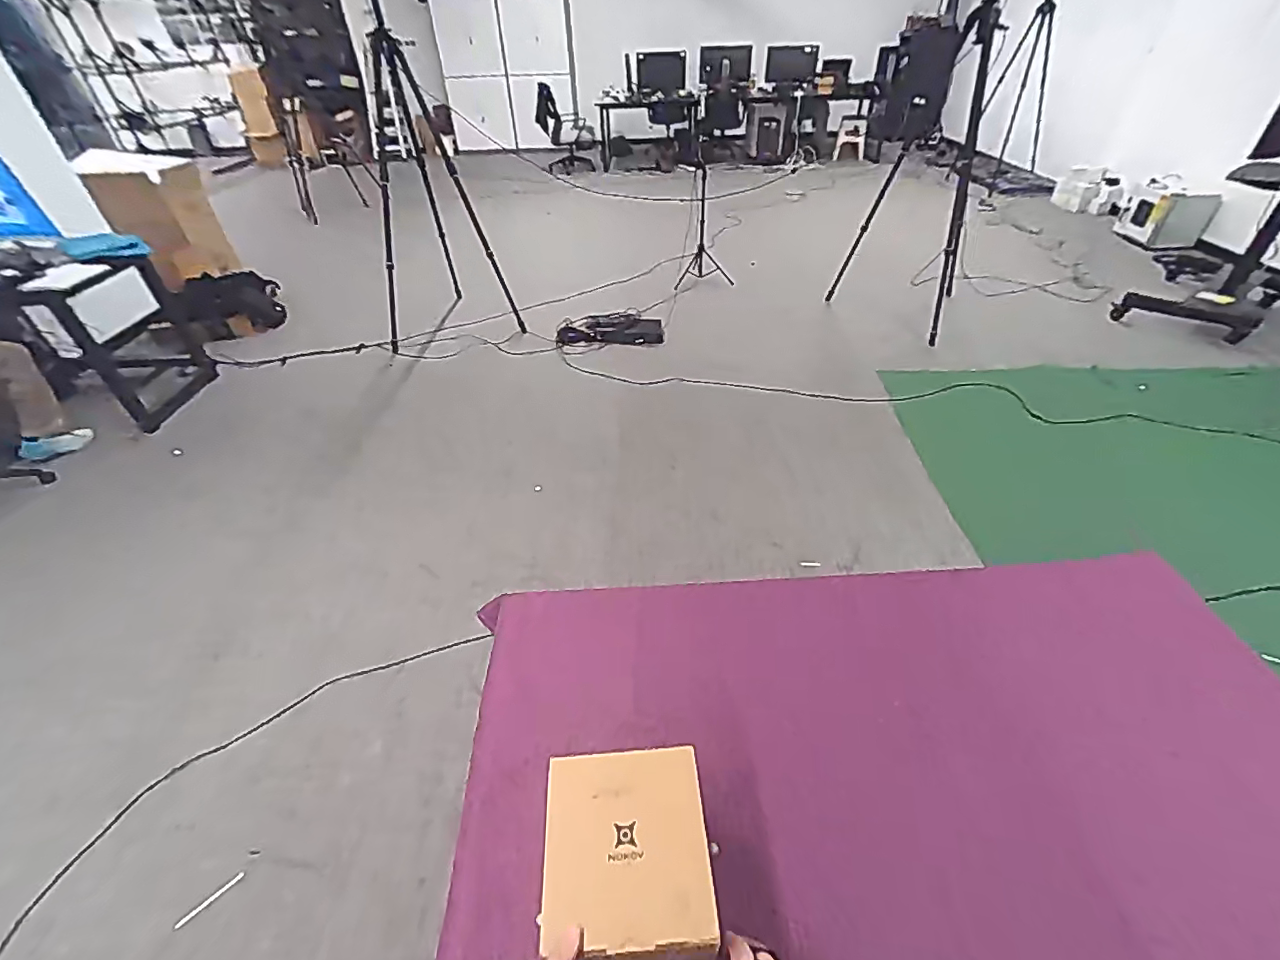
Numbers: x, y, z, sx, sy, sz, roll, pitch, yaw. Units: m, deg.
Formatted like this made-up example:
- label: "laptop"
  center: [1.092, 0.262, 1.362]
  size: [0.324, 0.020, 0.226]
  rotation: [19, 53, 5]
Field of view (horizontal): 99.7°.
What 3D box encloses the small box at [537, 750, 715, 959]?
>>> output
- label: "small box"
  center: [-0.014, 0.428, 0.600]
  size: [0.168, 0.176, 0.179]
  rotation: [-3, 40, -2]
